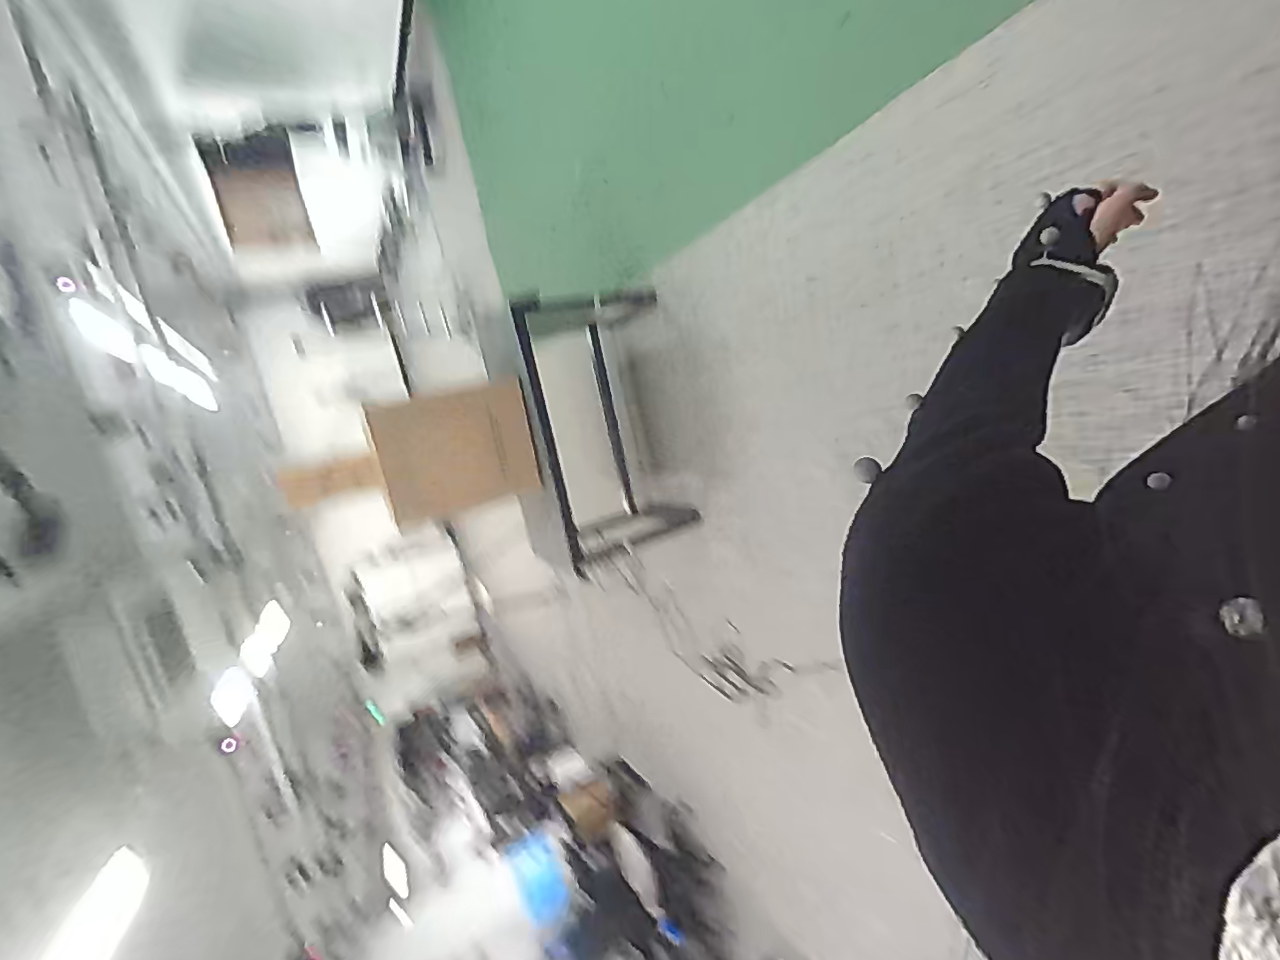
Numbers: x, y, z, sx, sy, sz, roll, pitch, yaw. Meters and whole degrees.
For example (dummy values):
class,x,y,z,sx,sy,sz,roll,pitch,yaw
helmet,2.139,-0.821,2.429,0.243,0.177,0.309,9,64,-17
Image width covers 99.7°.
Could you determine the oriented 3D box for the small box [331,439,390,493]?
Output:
class,x,y,z,sx,sy,sz,roll,pitch,yaw
small box,-1.110,-0.062,2.150,0.179,0.176,0.168,17,120,57
